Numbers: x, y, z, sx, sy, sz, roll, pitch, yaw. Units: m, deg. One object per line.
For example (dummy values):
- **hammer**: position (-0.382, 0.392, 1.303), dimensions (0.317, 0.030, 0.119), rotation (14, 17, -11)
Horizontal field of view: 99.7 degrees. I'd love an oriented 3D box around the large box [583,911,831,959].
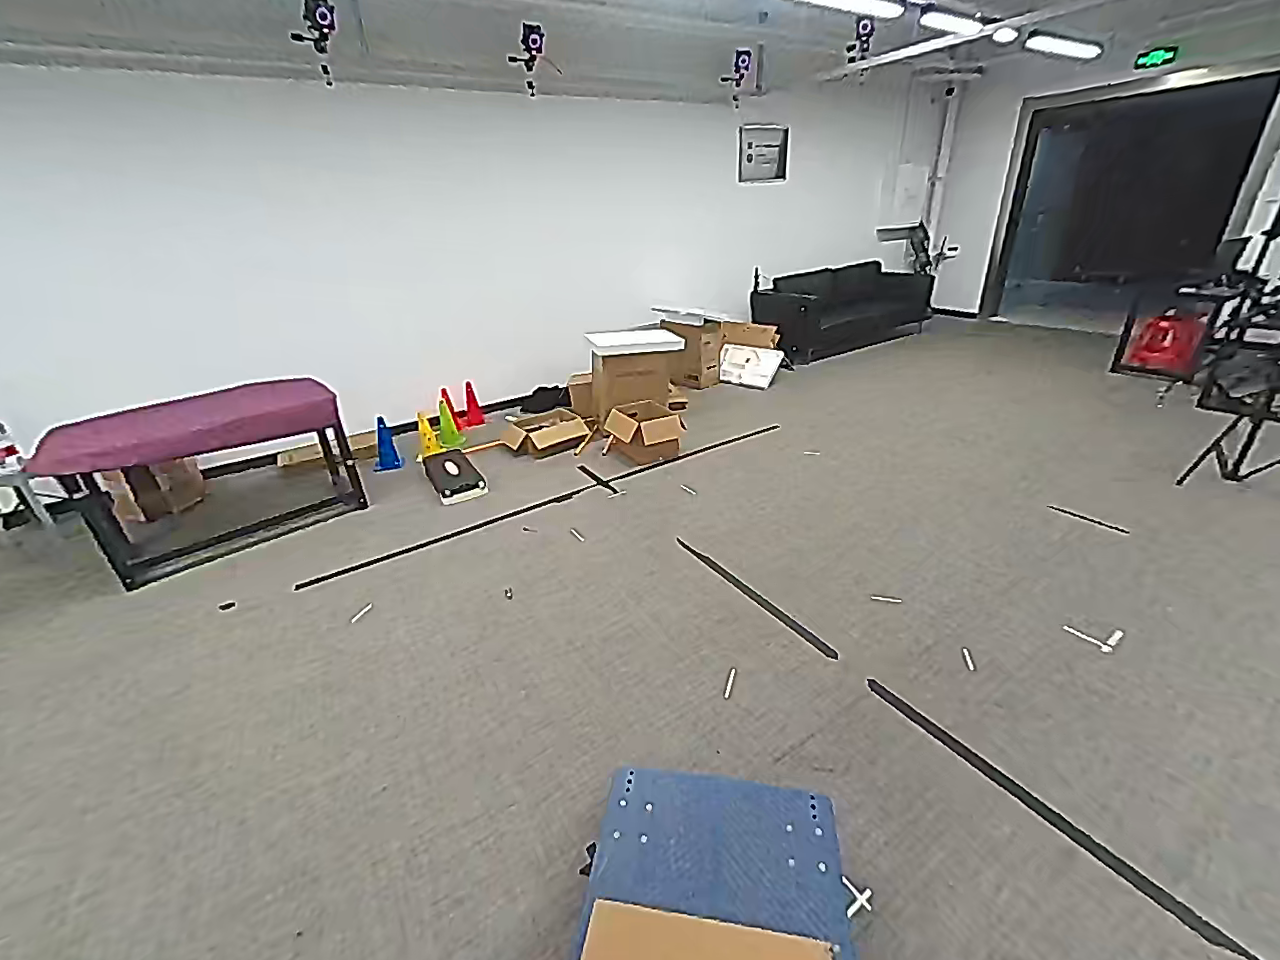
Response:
- **large box**: position (0.094, 0.962, 0.849), dimensions (0.408, 0.320, 0.320), rotation (3, 28, 10)
